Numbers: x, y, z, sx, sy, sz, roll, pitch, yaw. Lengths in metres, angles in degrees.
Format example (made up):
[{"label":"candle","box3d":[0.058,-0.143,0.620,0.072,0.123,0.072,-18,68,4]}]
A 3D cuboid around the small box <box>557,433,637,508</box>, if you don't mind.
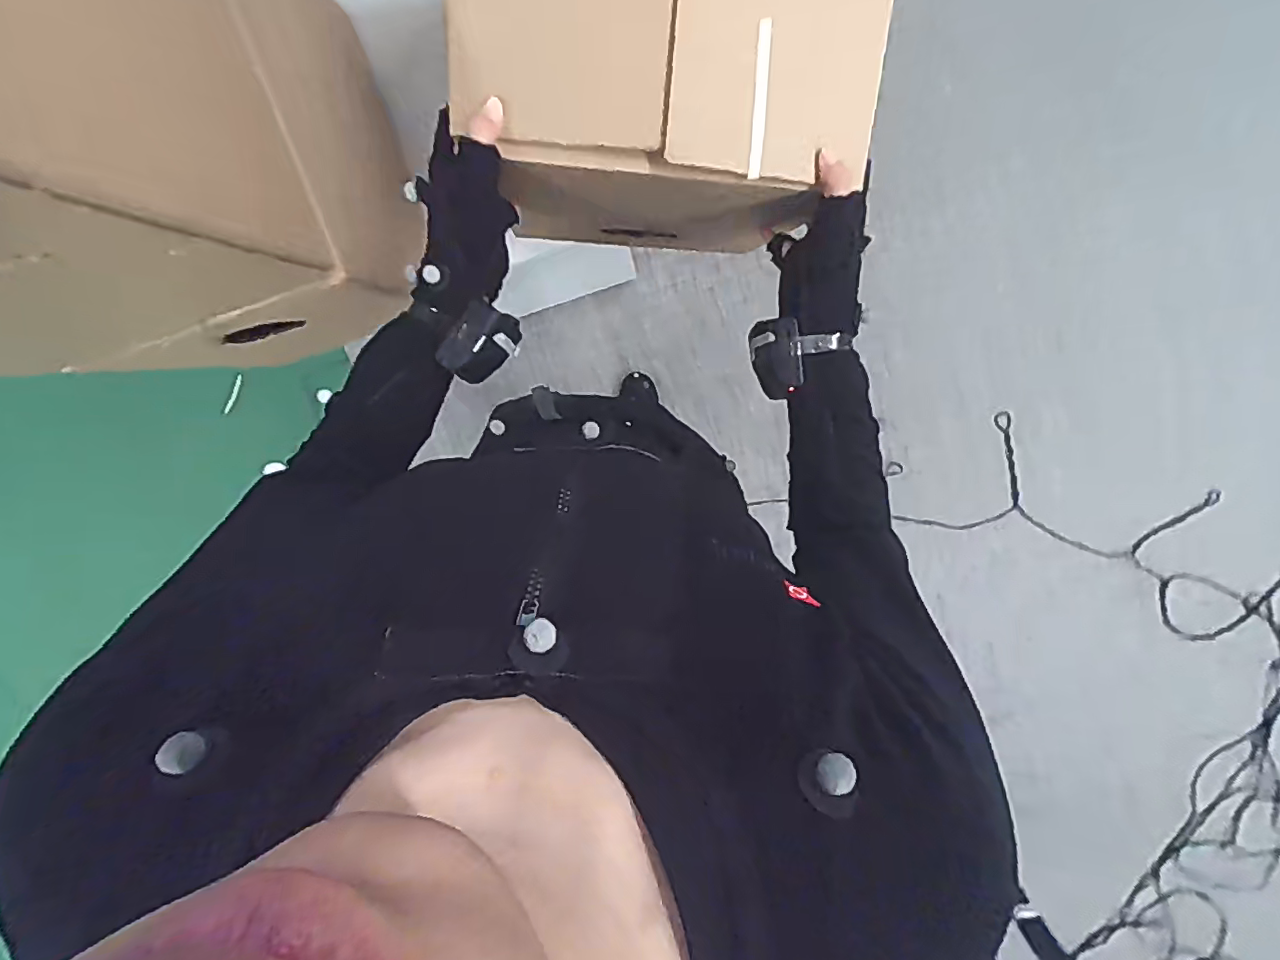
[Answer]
[{"label":"small box","box3d":[-0.117,-0.028,1.415,0.168,0.176,0.179,1,97,-22]}]
